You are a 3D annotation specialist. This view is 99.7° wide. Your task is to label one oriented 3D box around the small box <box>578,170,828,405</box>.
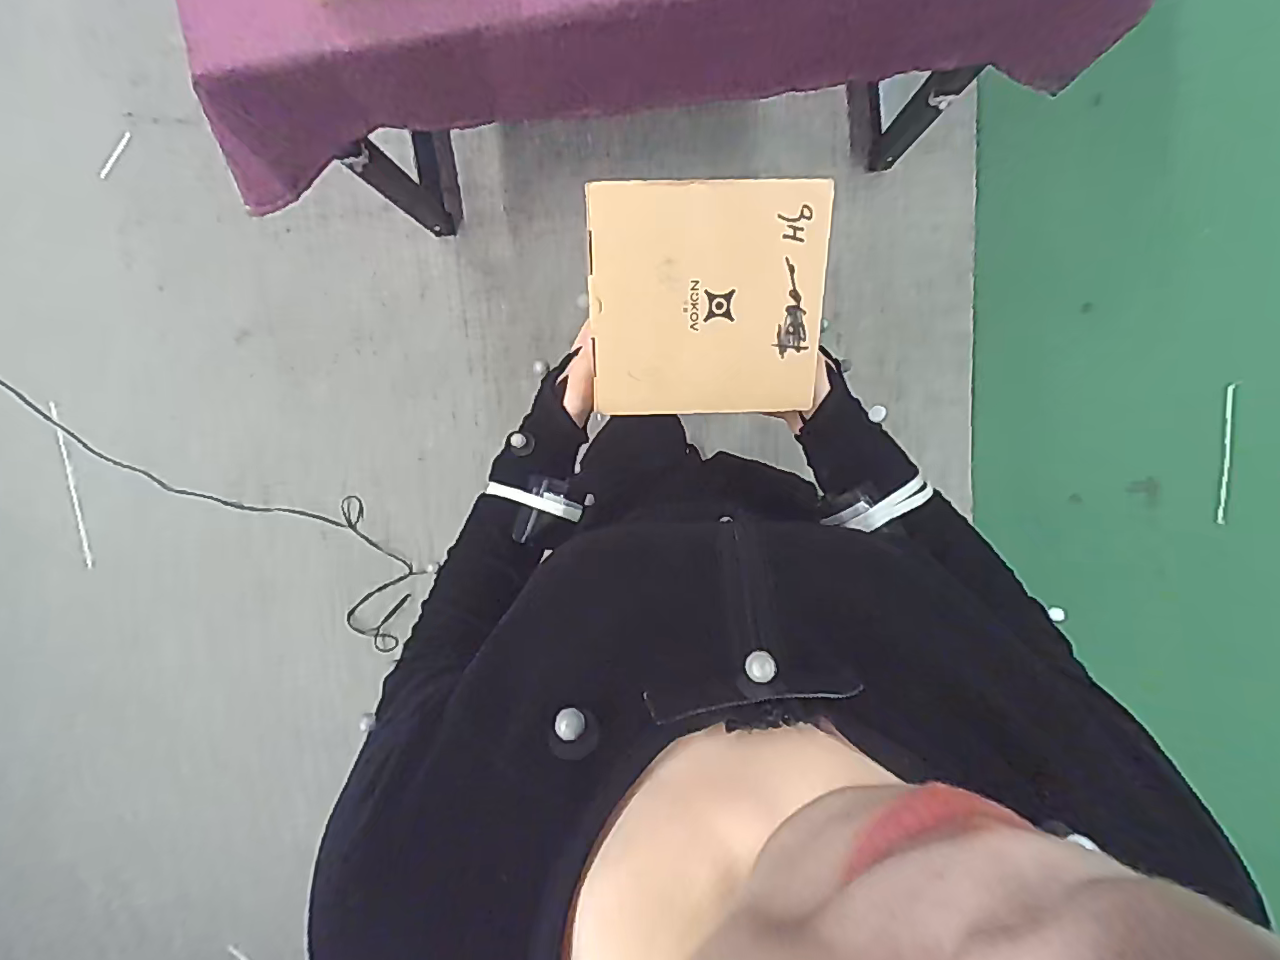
[{"bbox_3d":[0.043,-0.164,0.475,0.179,0.176,0.168,-1,110,-1],"label":"small box"}]
